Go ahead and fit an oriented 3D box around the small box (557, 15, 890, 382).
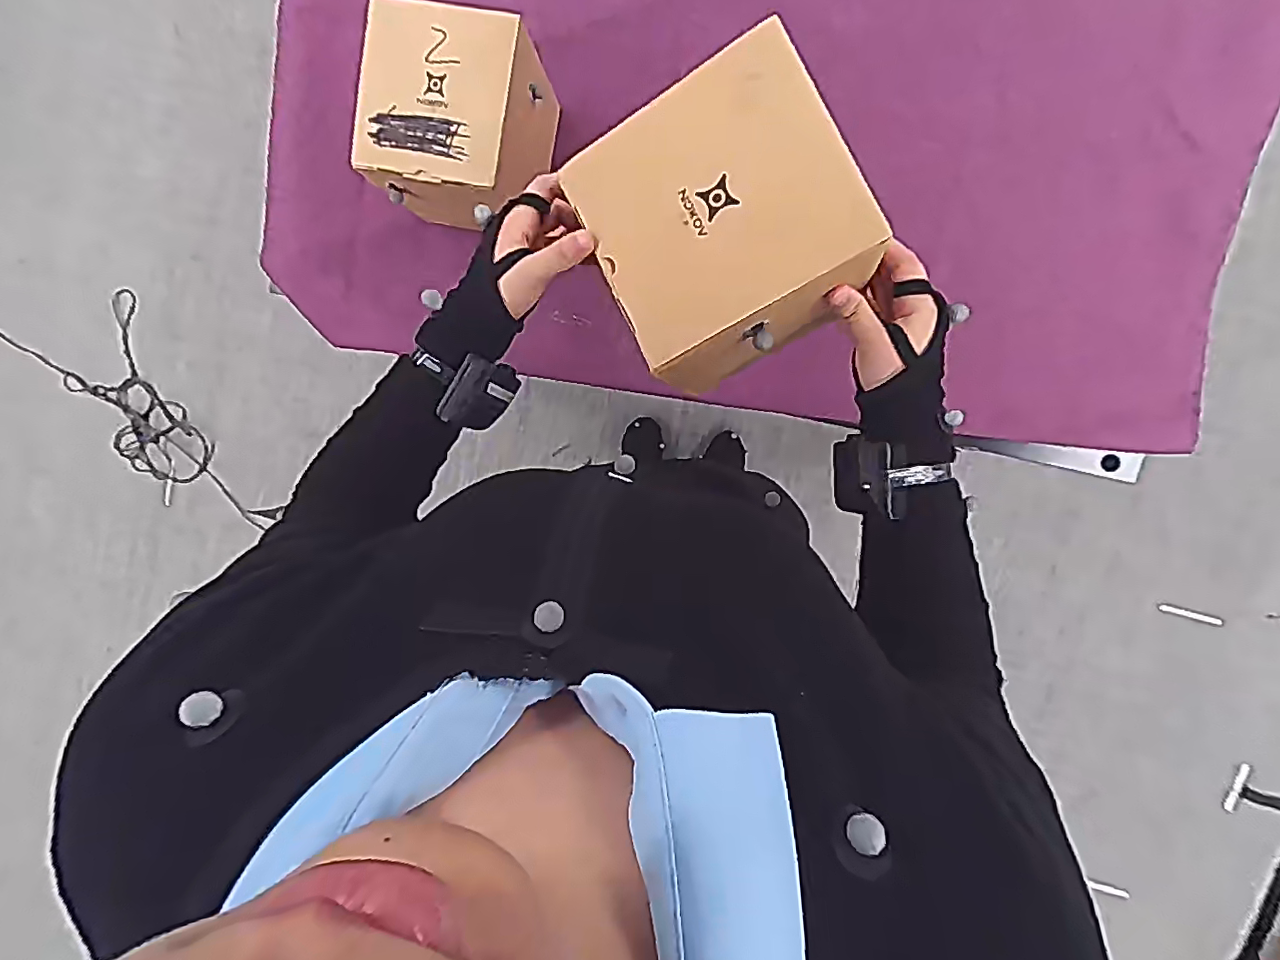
[{"bbox_3d":[0.069,-0.194,0.437,0.179,0.176,0.168,-27,87,17],"label":"small box"}]
